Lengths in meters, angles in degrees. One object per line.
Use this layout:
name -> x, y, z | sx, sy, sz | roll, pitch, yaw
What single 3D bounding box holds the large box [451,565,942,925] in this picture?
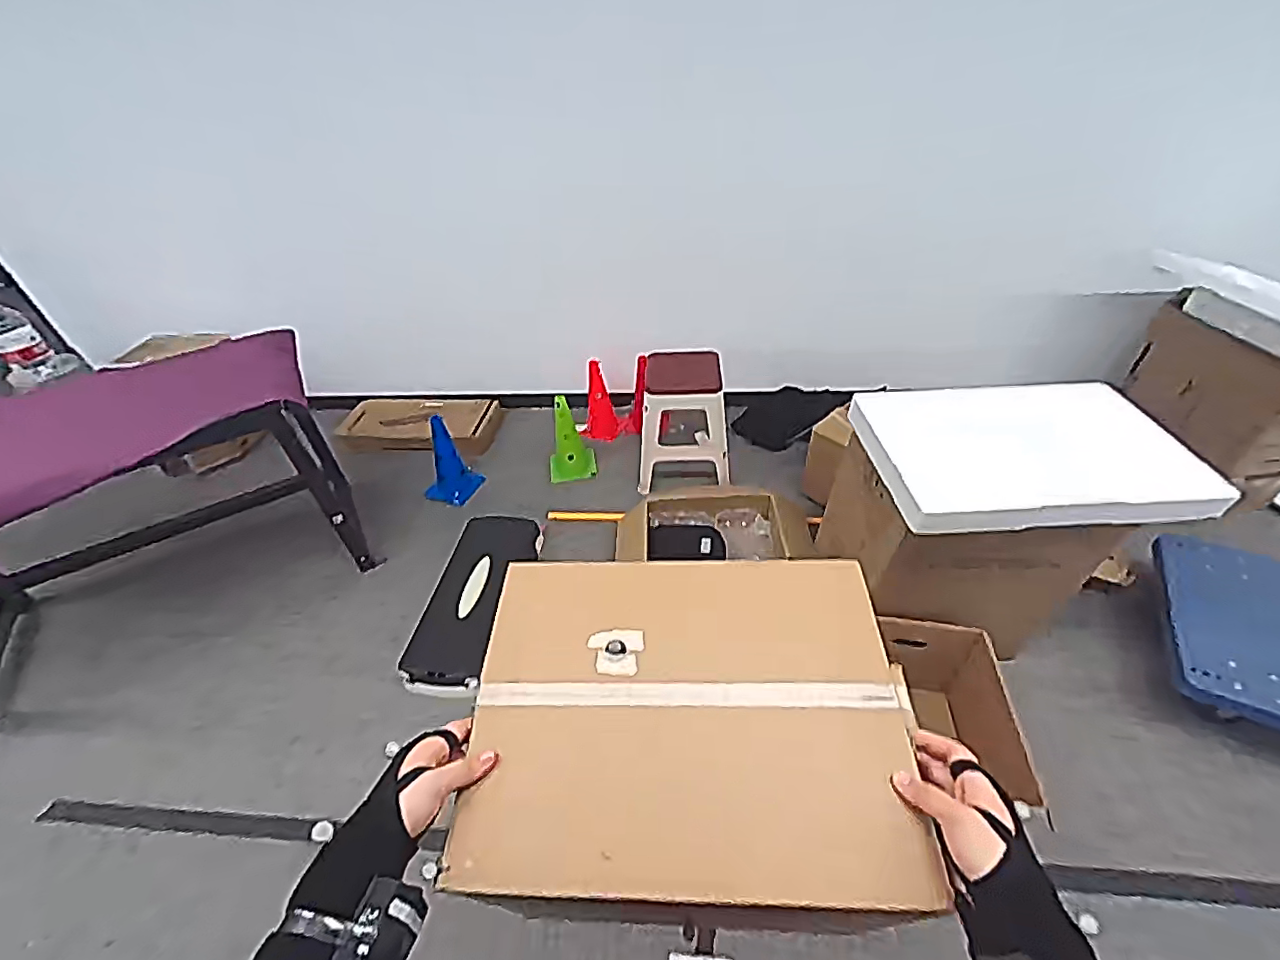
large box -> 0.058, 0.321, 0.642 | 0.408, 0.320, 0.320 | -3, 46, 5
